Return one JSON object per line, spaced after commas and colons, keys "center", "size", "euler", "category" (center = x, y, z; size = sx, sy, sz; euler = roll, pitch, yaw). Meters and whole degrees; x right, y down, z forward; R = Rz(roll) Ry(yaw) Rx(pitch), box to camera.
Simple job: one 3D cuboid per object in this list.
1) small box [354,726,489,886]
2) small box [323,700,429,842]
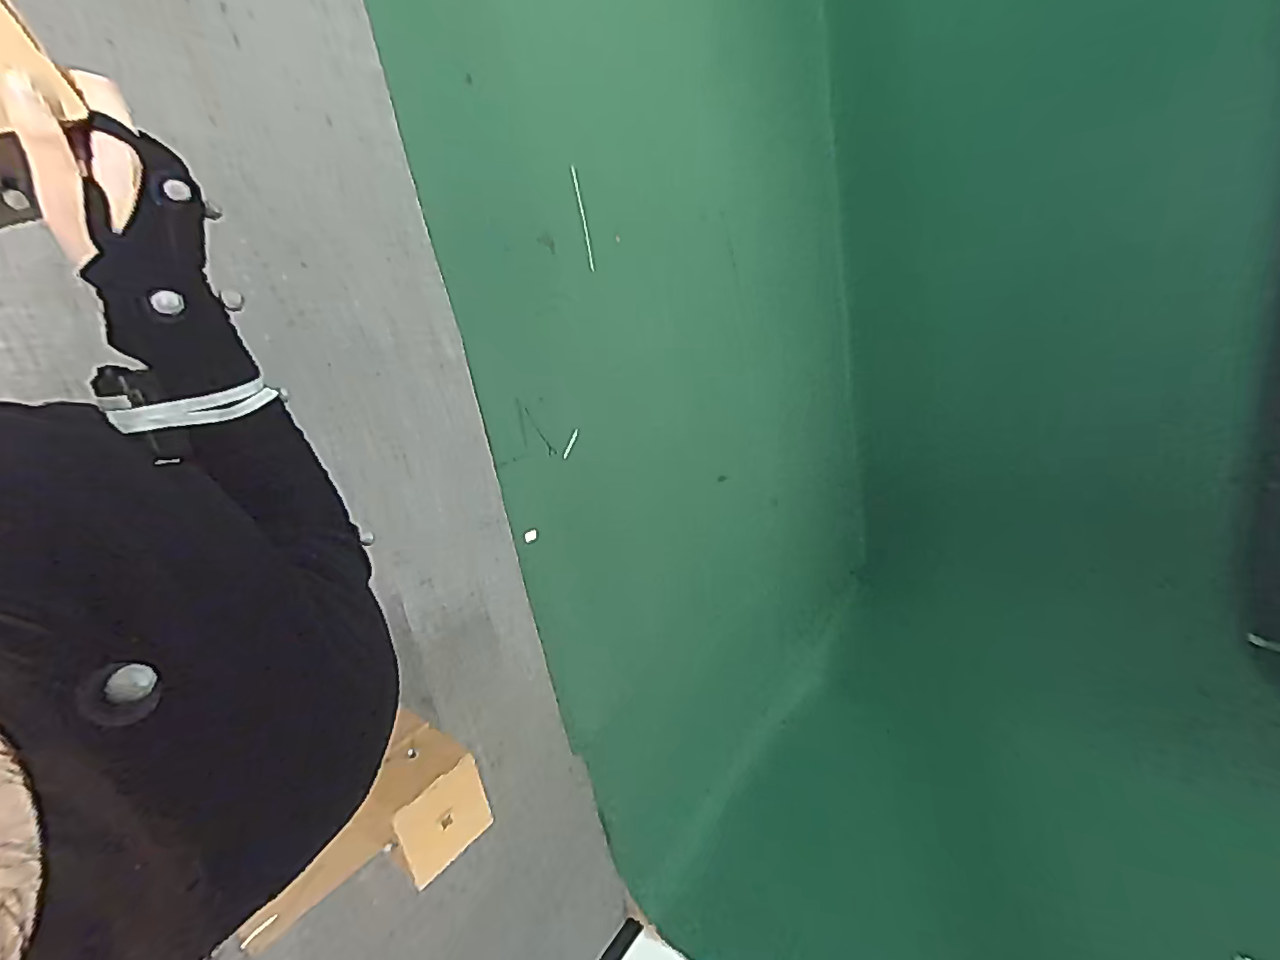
{"center": [-0.429, 0.625, 1.063], "size": [0.168, 0.176, 0.179], "euler": [-26, 113, -45], "category": "small box"}
{"center": [-0.554, 0.616, 1.167], "size": [0.179, 0.176, 0.168], "euler": [-29, 116, -44], "category": "small box"}
